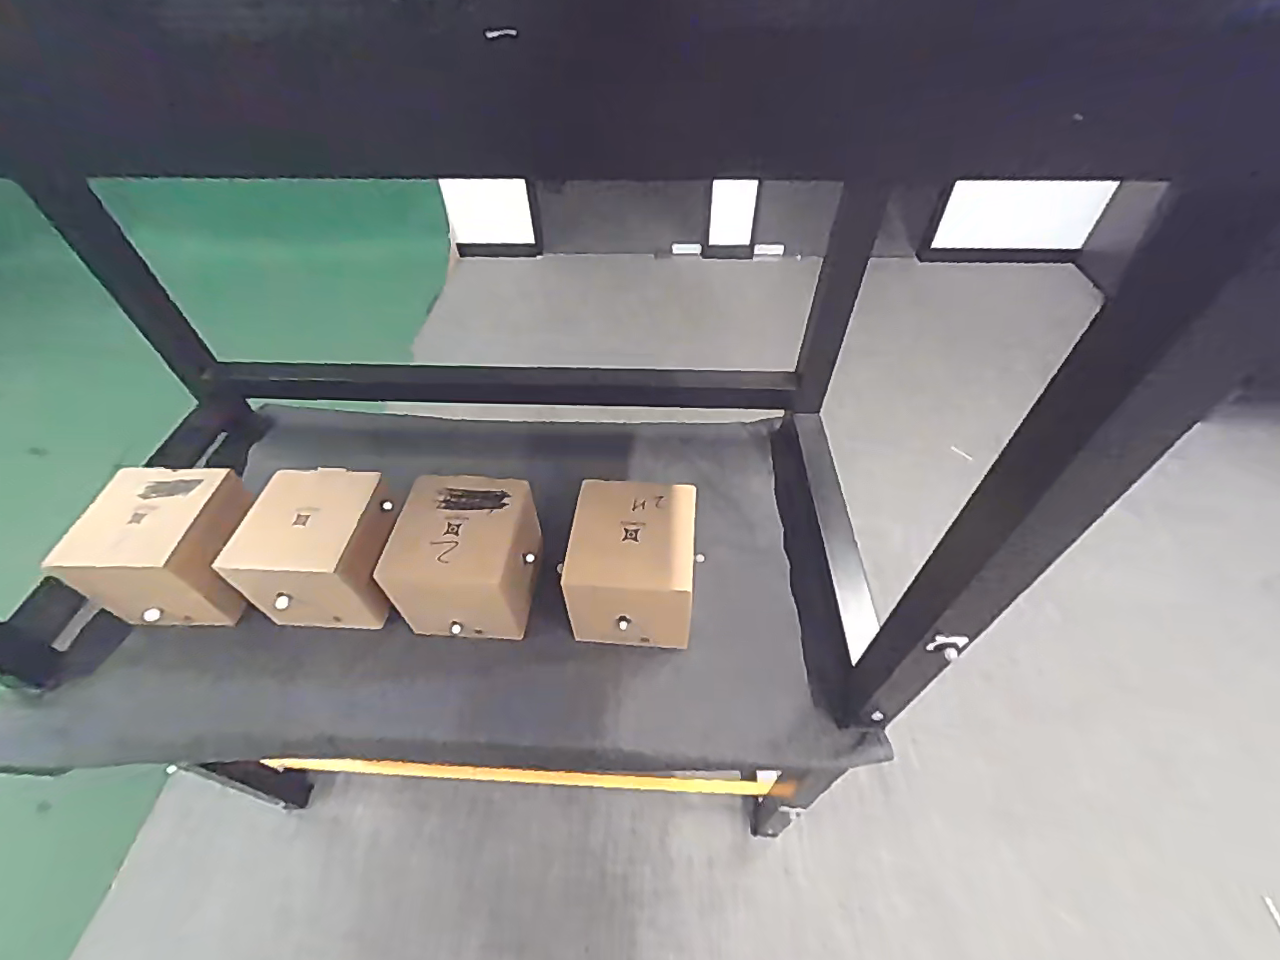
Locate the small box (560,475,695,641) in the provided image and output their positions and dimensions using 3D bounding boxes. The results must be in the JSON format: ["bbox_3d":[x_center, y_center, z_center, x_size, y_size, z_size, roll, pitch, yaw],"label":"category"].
[{"bbox_3d":[-0.009,0.115,0.783,0.168,0.176,0.179,4,48,4],"label":"small box"}]

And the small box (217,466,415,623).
[{"bbox_3d":[-0.463,0.100,0.811,0.168,0.176,0.179,2,48,3],"label":"small box"}]

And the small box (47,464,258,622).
[{"bbox_3d":[-0.690,0.095,0.817,0.168,0.176,0.179,0,49,1],"label":"small box"}]
